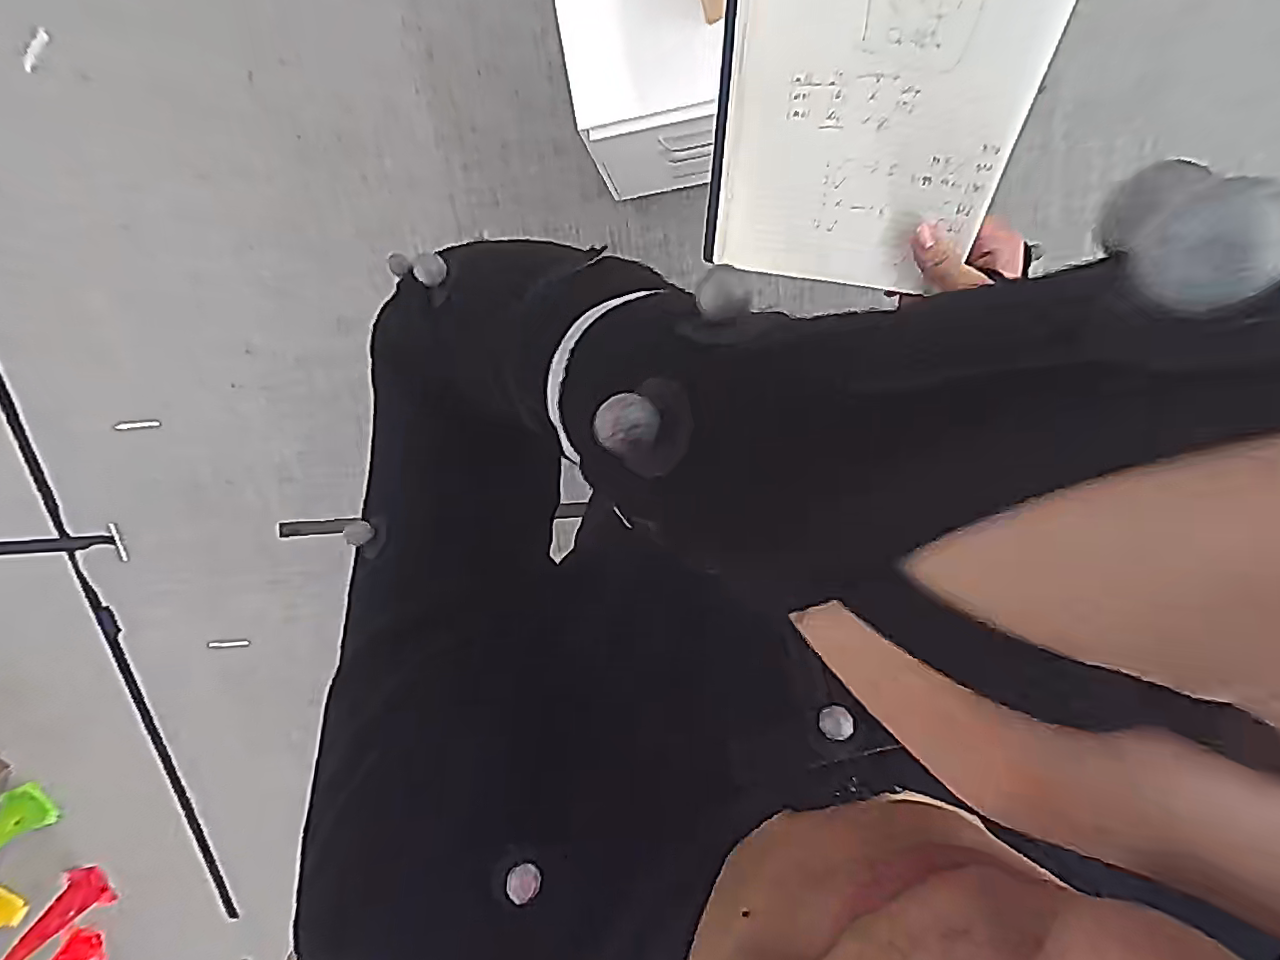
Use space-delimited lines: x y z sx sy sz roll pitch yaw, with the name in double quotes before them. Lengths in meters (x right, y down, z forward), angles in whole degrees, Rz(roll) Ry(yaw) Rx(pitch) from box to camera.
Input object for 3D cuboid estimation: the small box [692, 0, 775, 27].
"small box" 0.146 -0.770 0.727 0.179 0.176 0.168 -17 104 9
